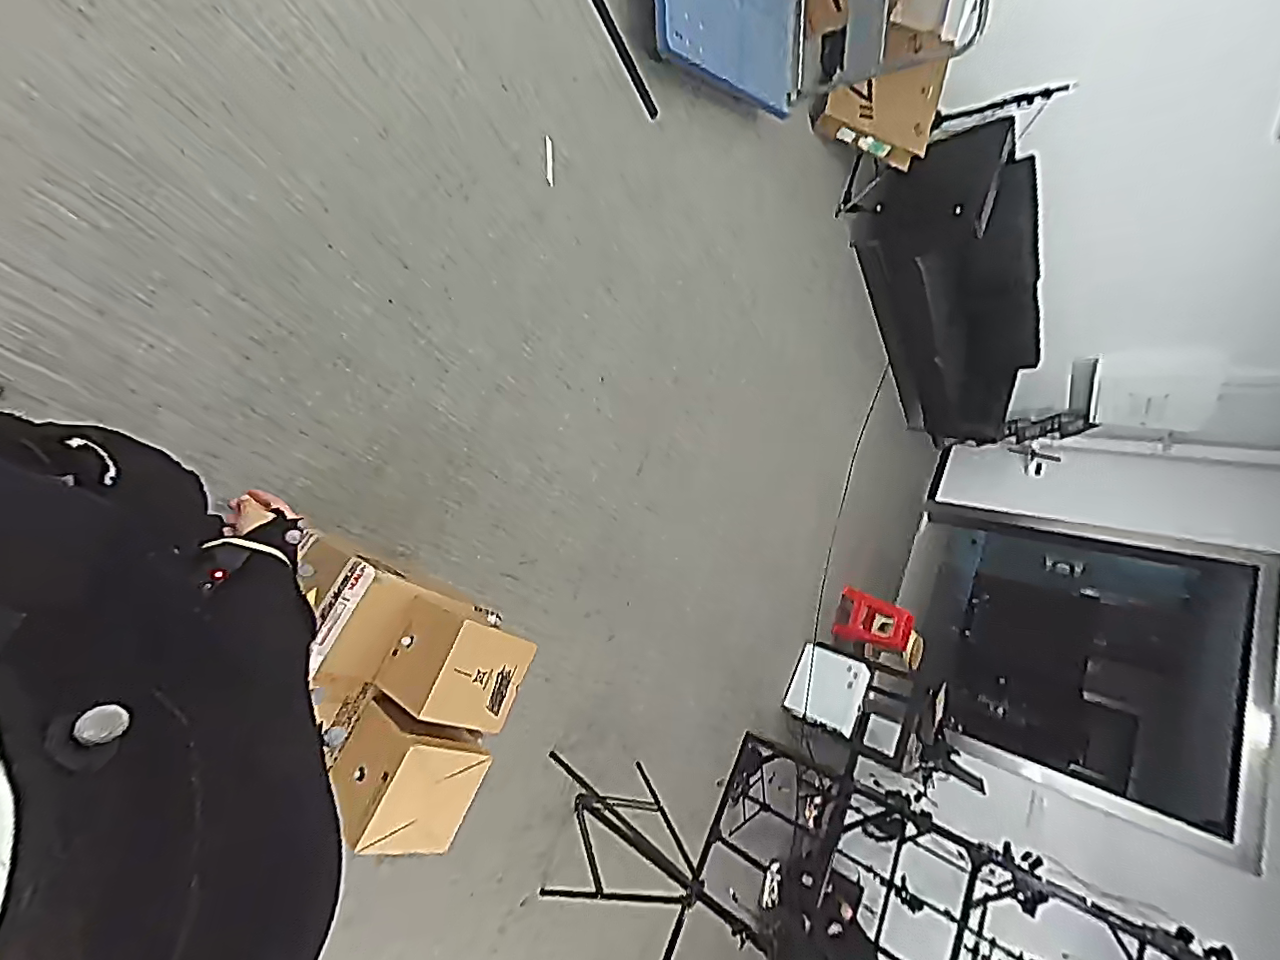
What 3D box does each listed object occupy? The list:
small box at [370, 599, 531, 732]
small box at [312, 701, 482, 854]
[{"bbox_3d":[-0.338,0.328,0.970,0.179,0.176,0.168,40,65,-44],"label":"small box"},{"bbox_3d":[-0.408,0.505,0.923,0.179,0.176,0.168,41,70,-44],"label":"small box"}]
